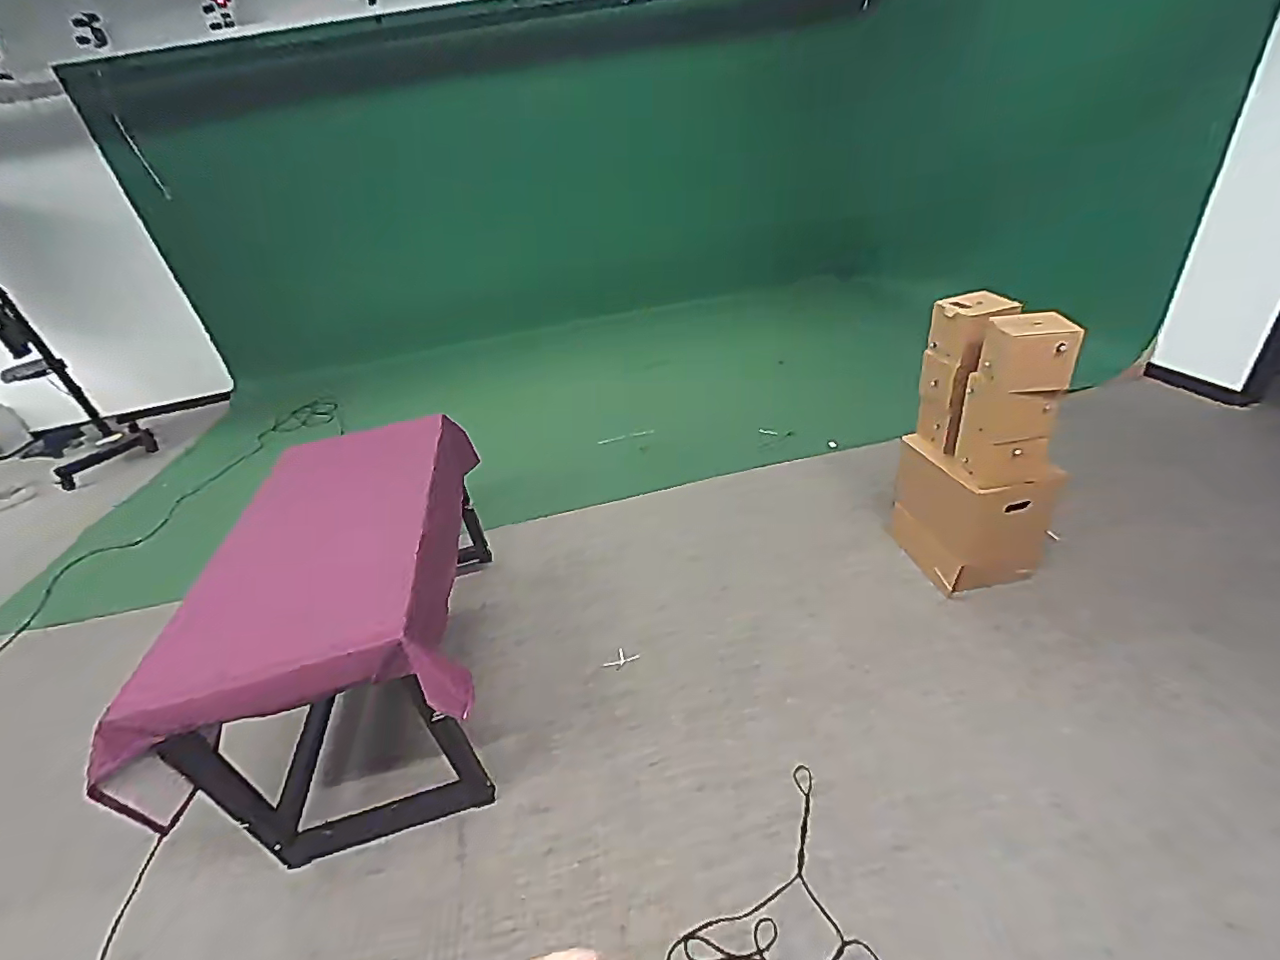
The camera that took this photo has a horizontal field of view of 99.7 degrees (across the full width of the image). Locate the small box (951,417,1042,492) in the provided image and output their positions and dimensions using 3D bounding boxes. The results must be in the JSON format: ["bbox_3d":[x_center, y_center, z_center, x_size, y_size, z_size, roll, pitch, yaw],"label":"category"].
[{"bbox_3d":[1.130,-0.081,1.731,0.179,0.176,0.168,-10,31,2],"label":"small box"}]

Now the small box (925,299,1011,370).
[{"bbox_3d":[1.051,-0.470,1.751,0.179,0.176,0.168,-13,34,-5],"label":"small box"}]

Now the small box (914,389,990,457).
[{"bbox_3d":[1.106,-0.201,1.932,0.179,0.176,0.168,-13,34,-3],"label":"small box"}]

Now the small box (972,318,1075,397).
[{"bbox_3d":[1.084,-0.349,1.544,0.179,0.176,0.168,-3,32,12],"label":"small box"}]
